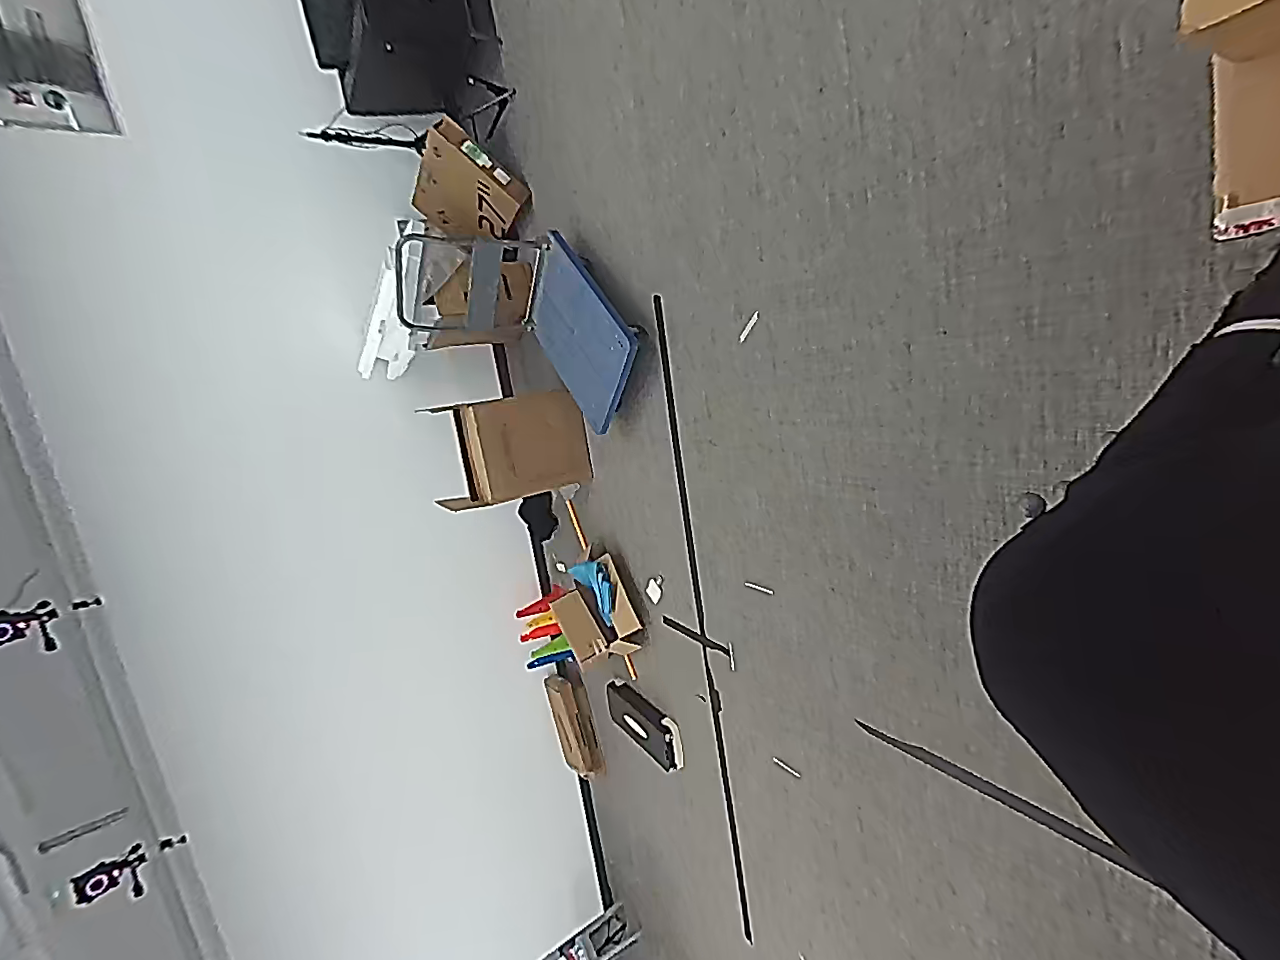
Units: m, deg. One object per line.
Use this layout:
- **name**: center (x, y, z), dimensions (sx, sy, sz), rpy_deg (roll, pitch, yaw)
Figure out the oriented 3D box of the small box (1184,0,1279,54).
- **small box**: center (0.610, -0.506, 0.456), dimensions (0.179, 0.176, 0.168), rpy_deg (9, 111, 60)
